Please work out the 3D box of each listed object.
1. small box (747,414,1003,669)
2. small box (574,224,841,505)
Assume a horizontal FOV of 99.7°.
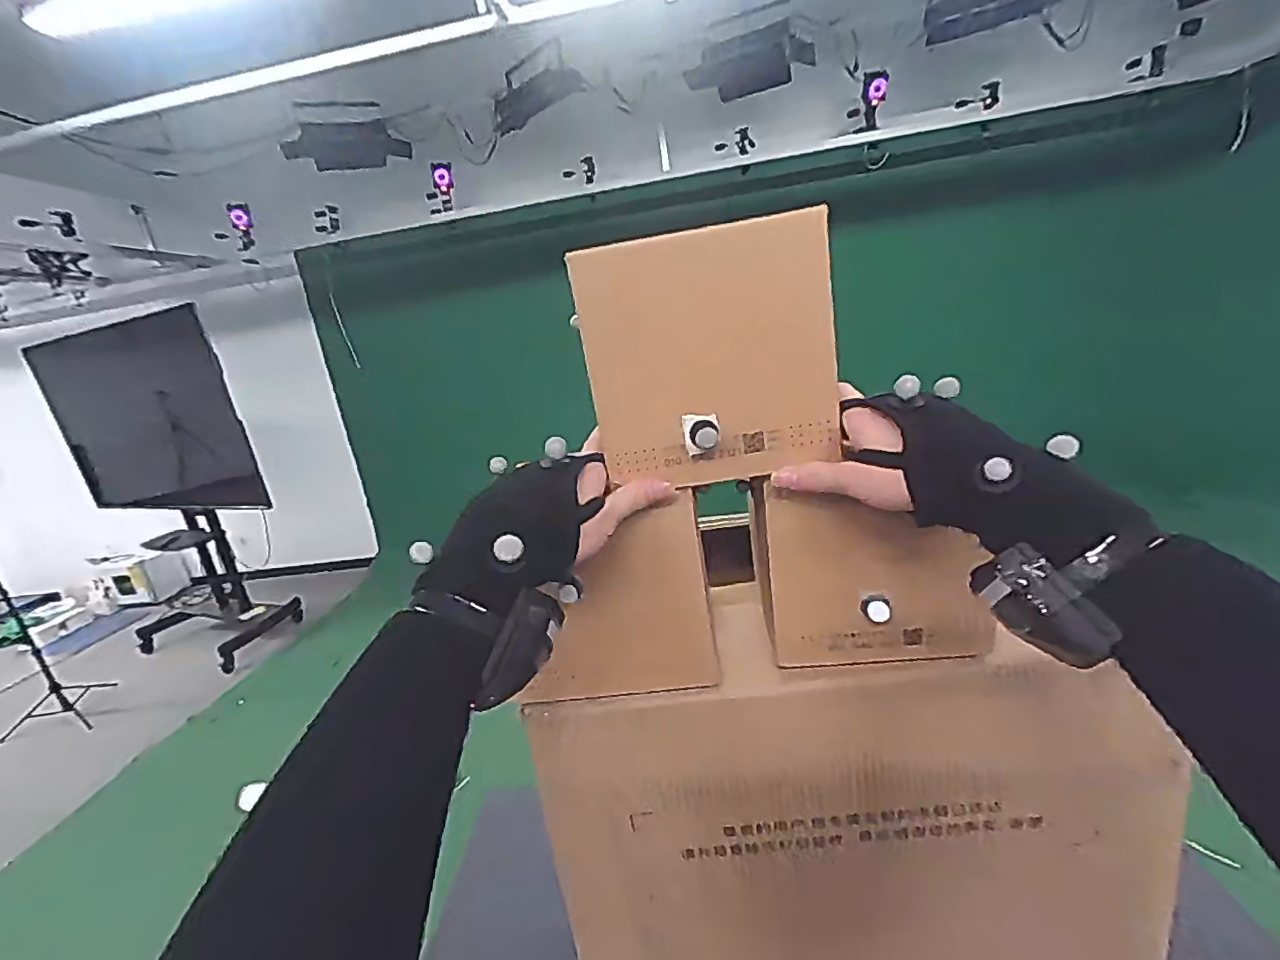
[{"bbox_3d":[0.184,0.045,0.480,0.168,0.176,0.179,-5,18,7],"label":"small box"},{"bbox_3d":[0.049,-0.091,0.435,0.168,0.176,0.179,-9,18,1],"label":"small box"}]
